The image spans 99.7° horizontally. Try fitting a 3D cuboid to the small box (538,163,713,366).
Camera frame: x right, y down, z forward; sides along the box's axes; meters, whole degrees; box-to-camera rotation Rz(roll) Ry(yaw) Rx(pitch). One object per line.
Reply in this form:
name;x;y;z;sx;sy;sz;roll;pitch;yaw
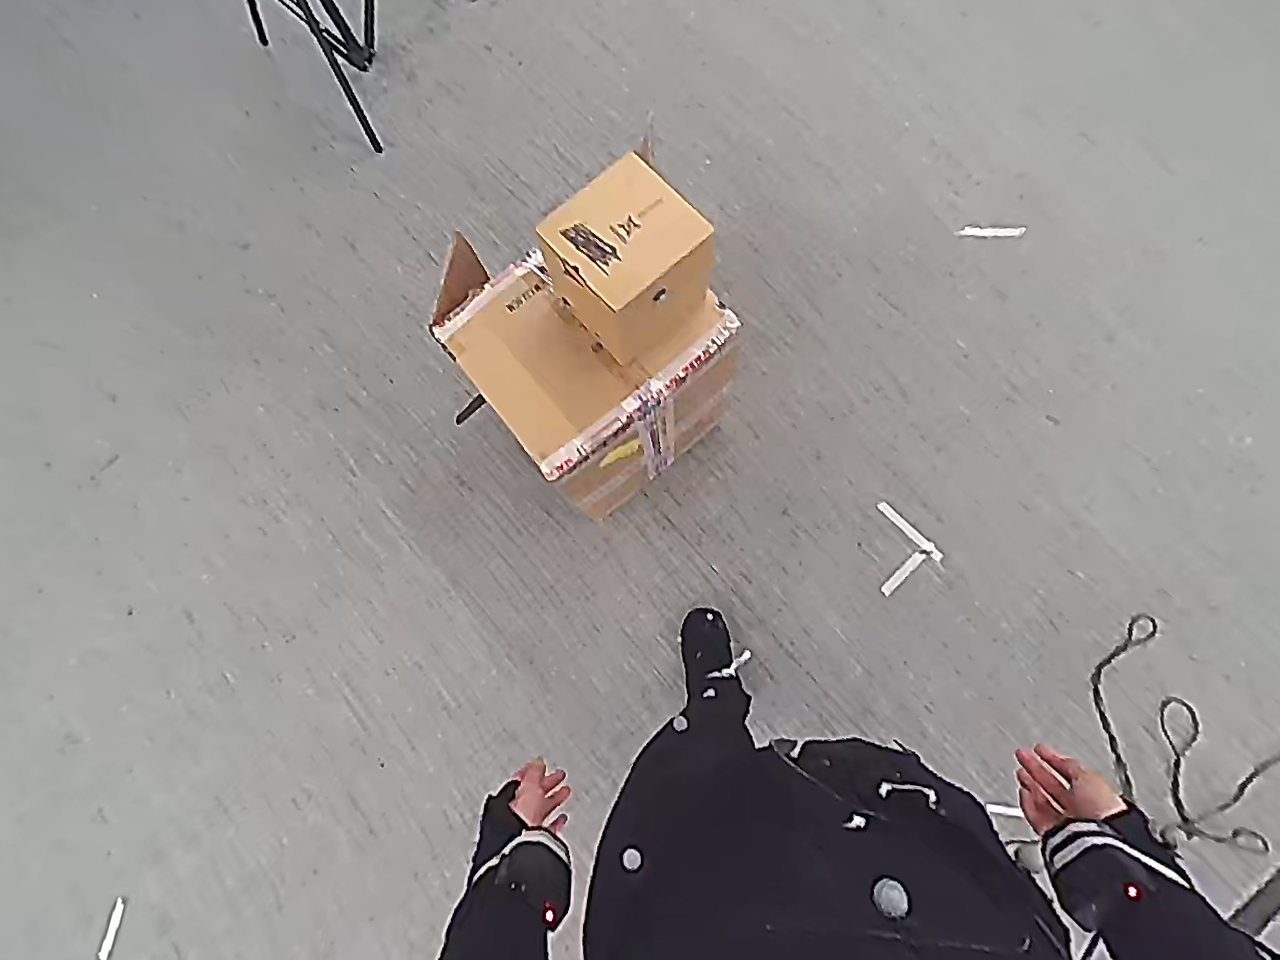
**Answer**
small box;-0.015;-0.298;0.783;0.179;0.176;0.168;-41;80;-7
